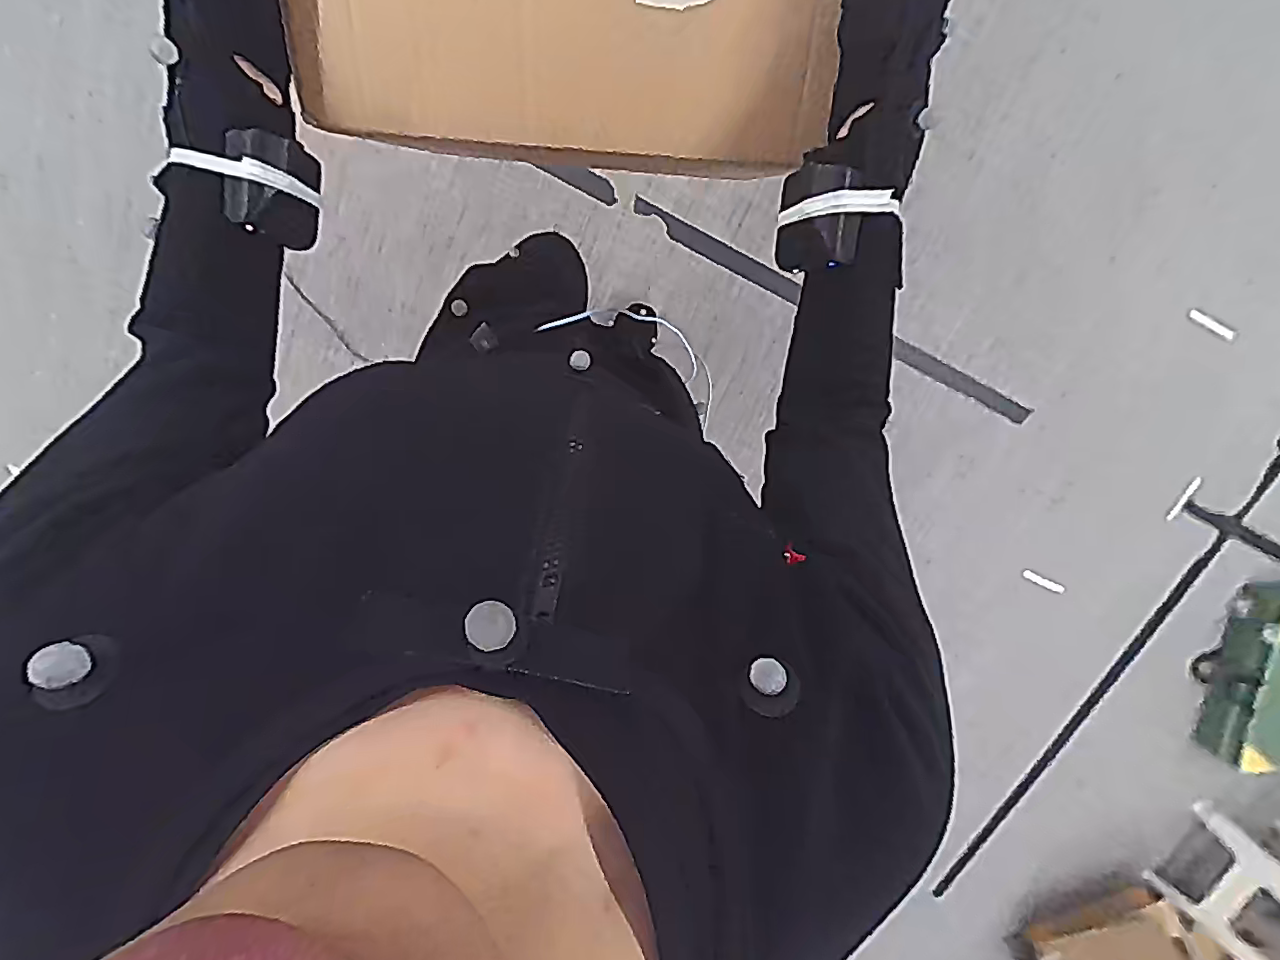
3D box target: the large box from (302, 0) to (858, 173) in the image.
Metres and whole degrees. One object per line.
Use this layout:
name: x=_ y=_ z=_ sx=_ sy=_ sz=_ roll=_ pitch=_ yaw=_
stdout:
large box: x=-0.043 y=-0.469 z=0.487 sx=0.408 sy=0.320 sz=0.320 roll=2 pitch=118 yaw=-3
